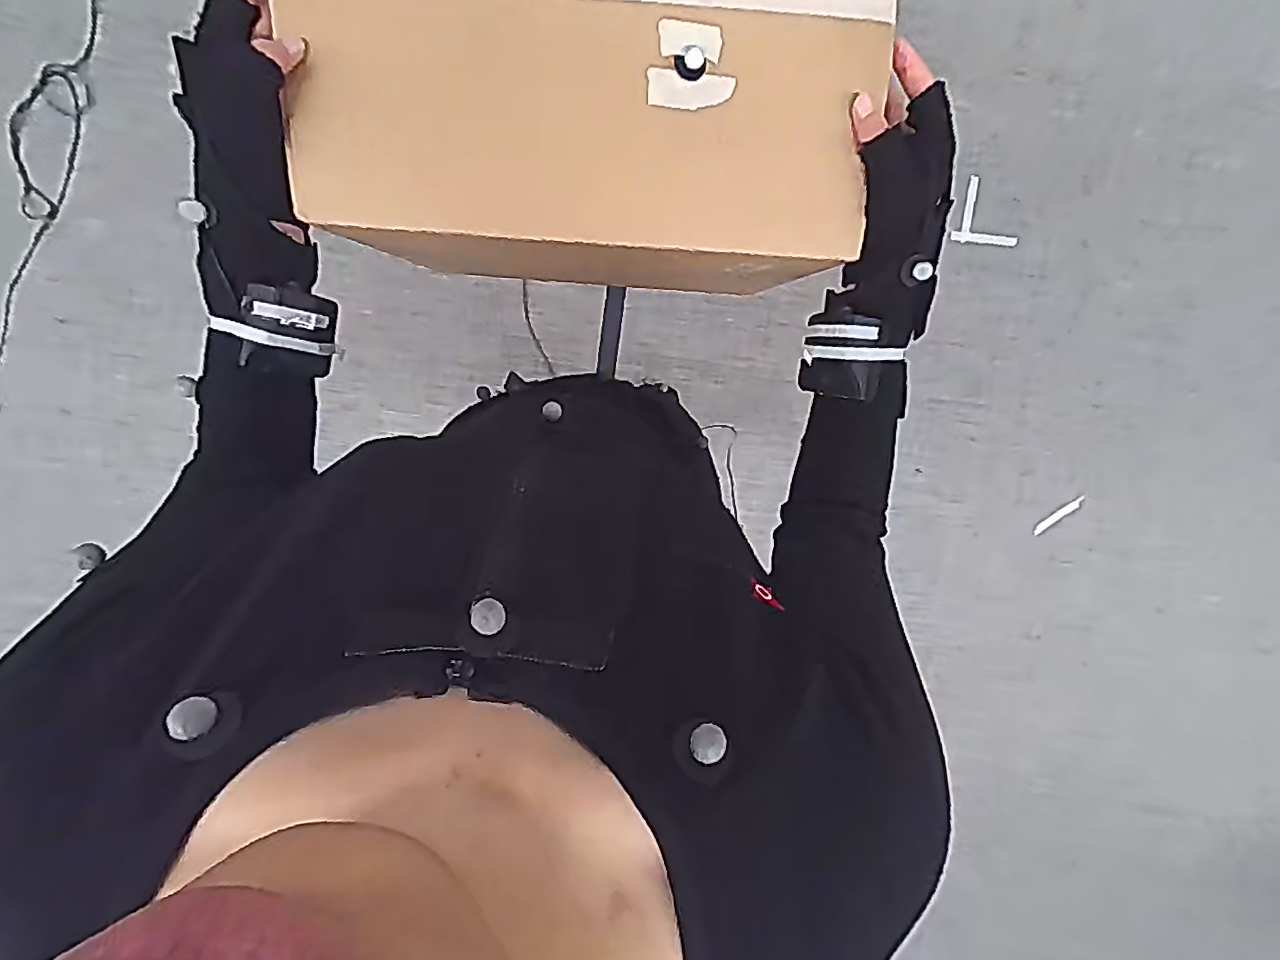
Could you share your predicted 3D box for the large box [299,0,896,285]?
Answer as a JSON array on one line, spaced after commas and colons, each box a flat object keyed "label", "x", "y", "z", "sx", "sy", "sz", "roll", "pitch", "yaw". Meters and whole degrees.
[{"label": "large box", "x": -0.032, "y": -0.366, "z": 0.501, "sx": 0.408, "sy": 0.320, "sz": 0.320, "roll": 2, "pitch": 105, "yaw": -4}]
